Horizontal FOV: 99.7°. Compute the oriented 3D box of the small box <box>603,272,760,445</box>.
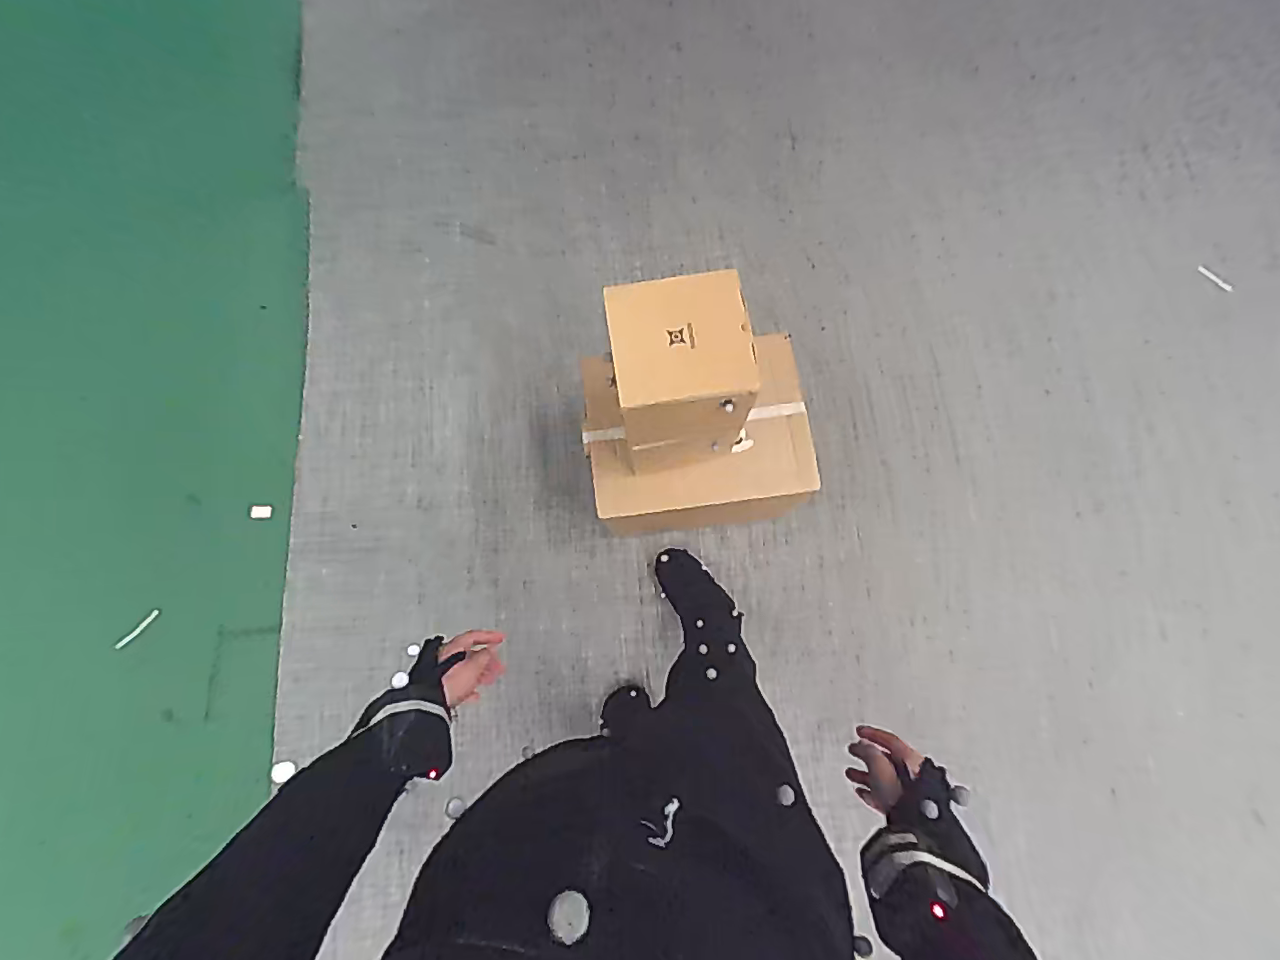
[{"bbox_3d":[0.052,-0.156,0.747,0.179,0.176,0.168,-9,77,-1],"label":"small box"}]

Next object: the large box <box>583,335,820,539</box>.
[{"bbox_3d":[0.110,-0.069,1.144,0.408,0.320,0.320,-8,78,0],"label":"large box"}]
